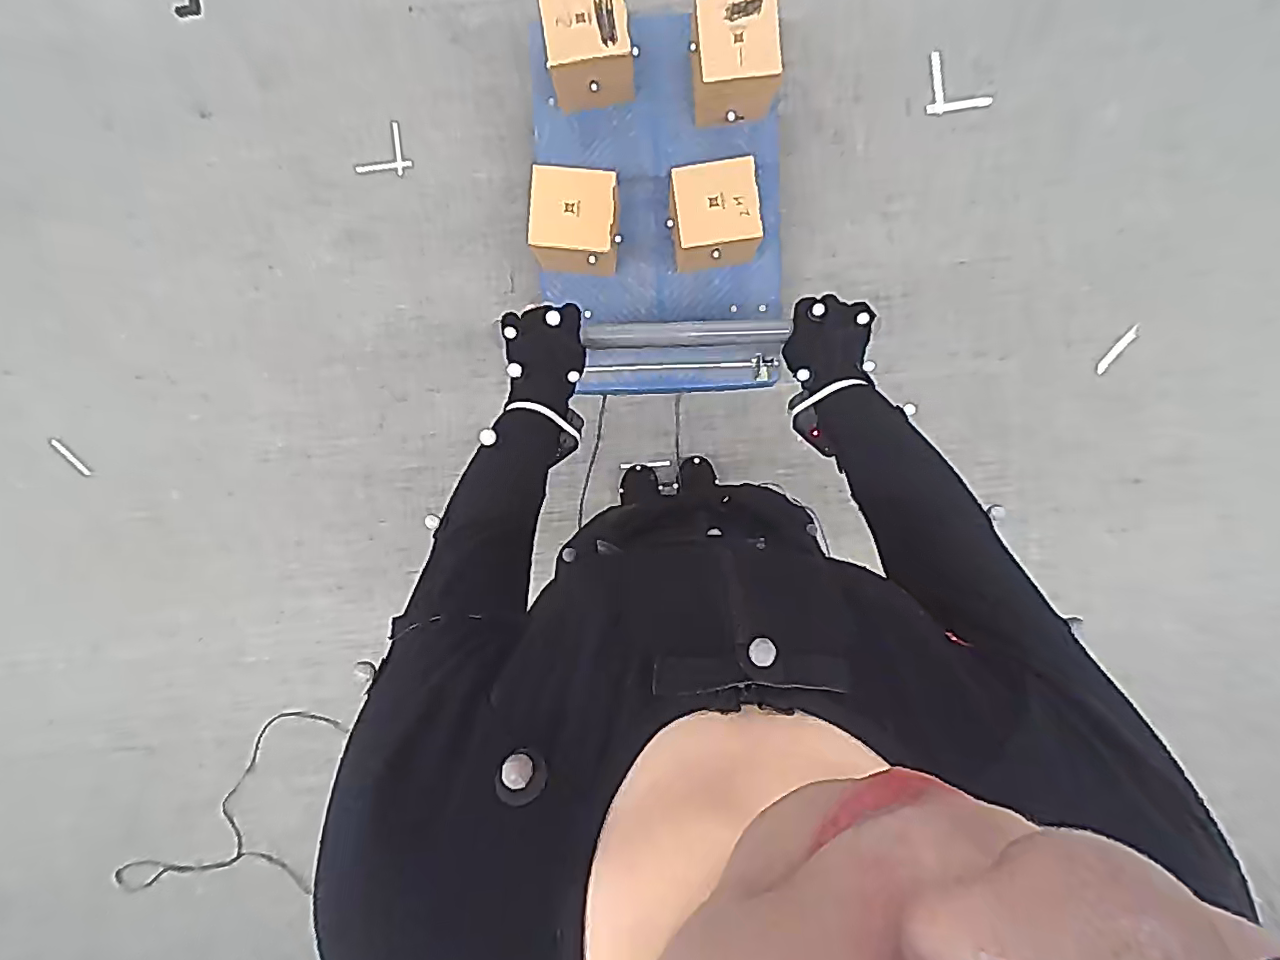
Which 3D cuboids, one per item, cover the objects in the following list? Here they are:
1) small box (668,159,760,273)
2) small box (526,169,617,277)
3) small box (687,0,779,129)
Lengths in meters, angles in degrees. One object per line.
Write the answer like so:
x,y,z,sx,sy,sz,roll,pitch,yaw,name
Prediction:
0.157,-0.576,1.203,0.179,0.176,0.168,-8,93,1,small box
-0.147,-0.565,1.208,0.179,0.176,0.168,4,93,-1,small box
0.197,-0.910,1.183,0.168,0.176,0.179,-6,94,1,small box
